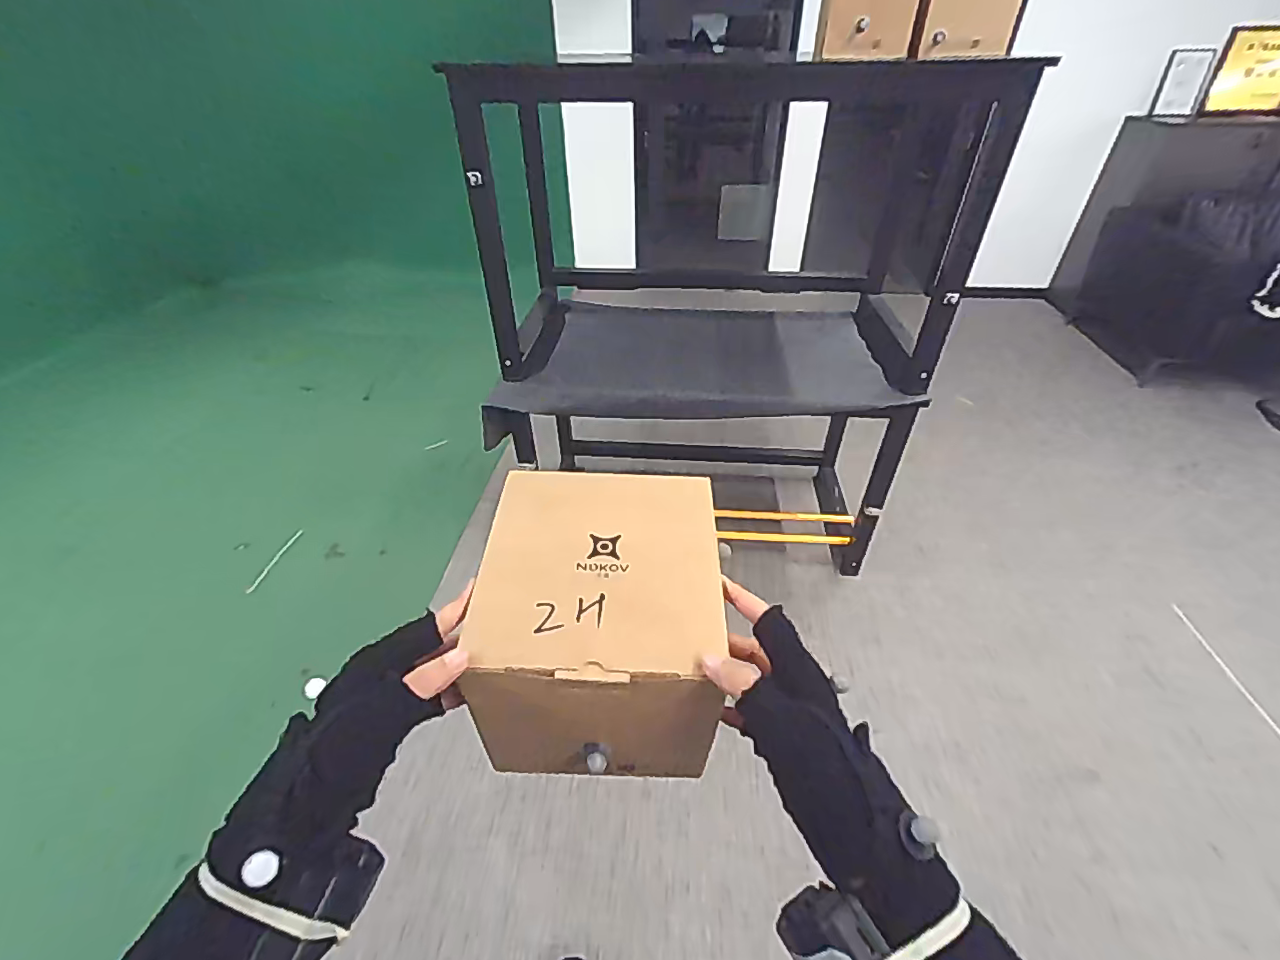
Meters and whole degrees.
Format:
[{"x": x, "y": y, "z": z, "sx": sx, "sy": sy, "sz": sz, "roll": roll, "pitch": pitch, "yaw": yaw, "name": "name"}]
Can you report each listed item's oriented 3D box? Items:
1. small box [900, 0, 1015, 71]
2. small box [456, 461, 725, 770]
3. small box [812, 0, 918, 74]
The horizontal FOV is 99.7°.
[{"x": 0.641, "y": -0.941, "z": 1.097, "sx": 0.168, "sy": 0.176, "sz": 0.179, "roll": 4, "pitch": 38, "yaw": 7, "name": "small box"}, {"x": -0.030, "y": 0.105, "z": 0.435, "sx": 0.168, "sy": 0.176, "sz": 0.179, "roll": 2, "pitch": 42, "yaw": 0, "name": "small box"}, {"x": 0.460, "y": -0.950, "z": 1.115, "sx": 0.168, "sy": 0.176, "sz": 0.179, "roll": 5, "pitch": 39, "yaw": 7, "name": "small box"}]
